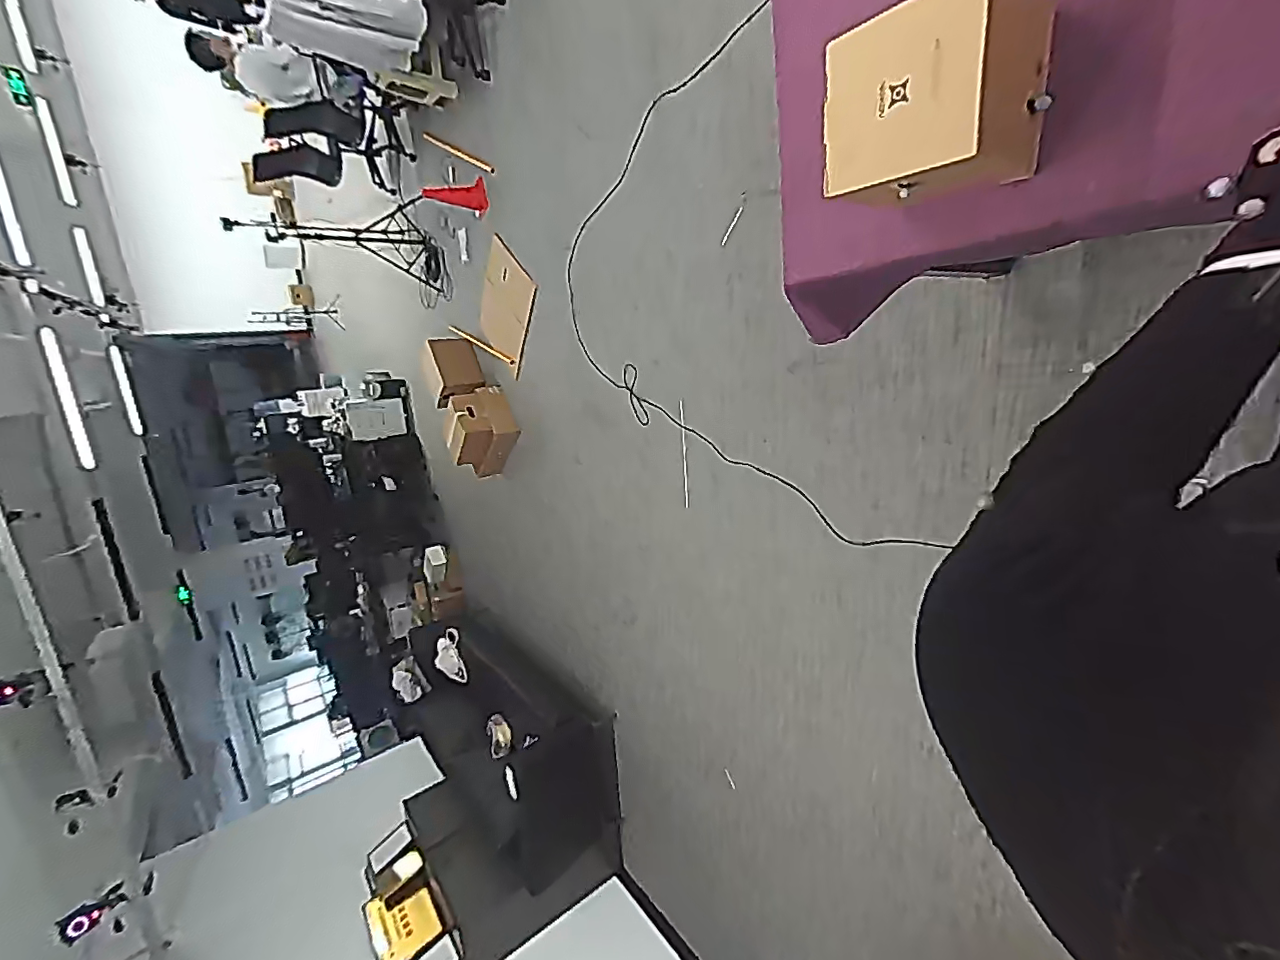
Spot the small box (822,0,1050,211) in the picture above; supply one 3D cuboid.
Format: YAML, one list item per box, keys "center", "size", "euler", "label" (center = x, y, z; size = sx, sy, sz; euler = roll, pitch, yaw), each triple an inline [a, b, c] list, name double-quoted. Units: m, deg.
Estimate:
- center: [0.339, -0.426, 0.633]
  size: [0.179, 0.176, 0.168]
  euler: [14, 113, 51]
  label: "small box"
